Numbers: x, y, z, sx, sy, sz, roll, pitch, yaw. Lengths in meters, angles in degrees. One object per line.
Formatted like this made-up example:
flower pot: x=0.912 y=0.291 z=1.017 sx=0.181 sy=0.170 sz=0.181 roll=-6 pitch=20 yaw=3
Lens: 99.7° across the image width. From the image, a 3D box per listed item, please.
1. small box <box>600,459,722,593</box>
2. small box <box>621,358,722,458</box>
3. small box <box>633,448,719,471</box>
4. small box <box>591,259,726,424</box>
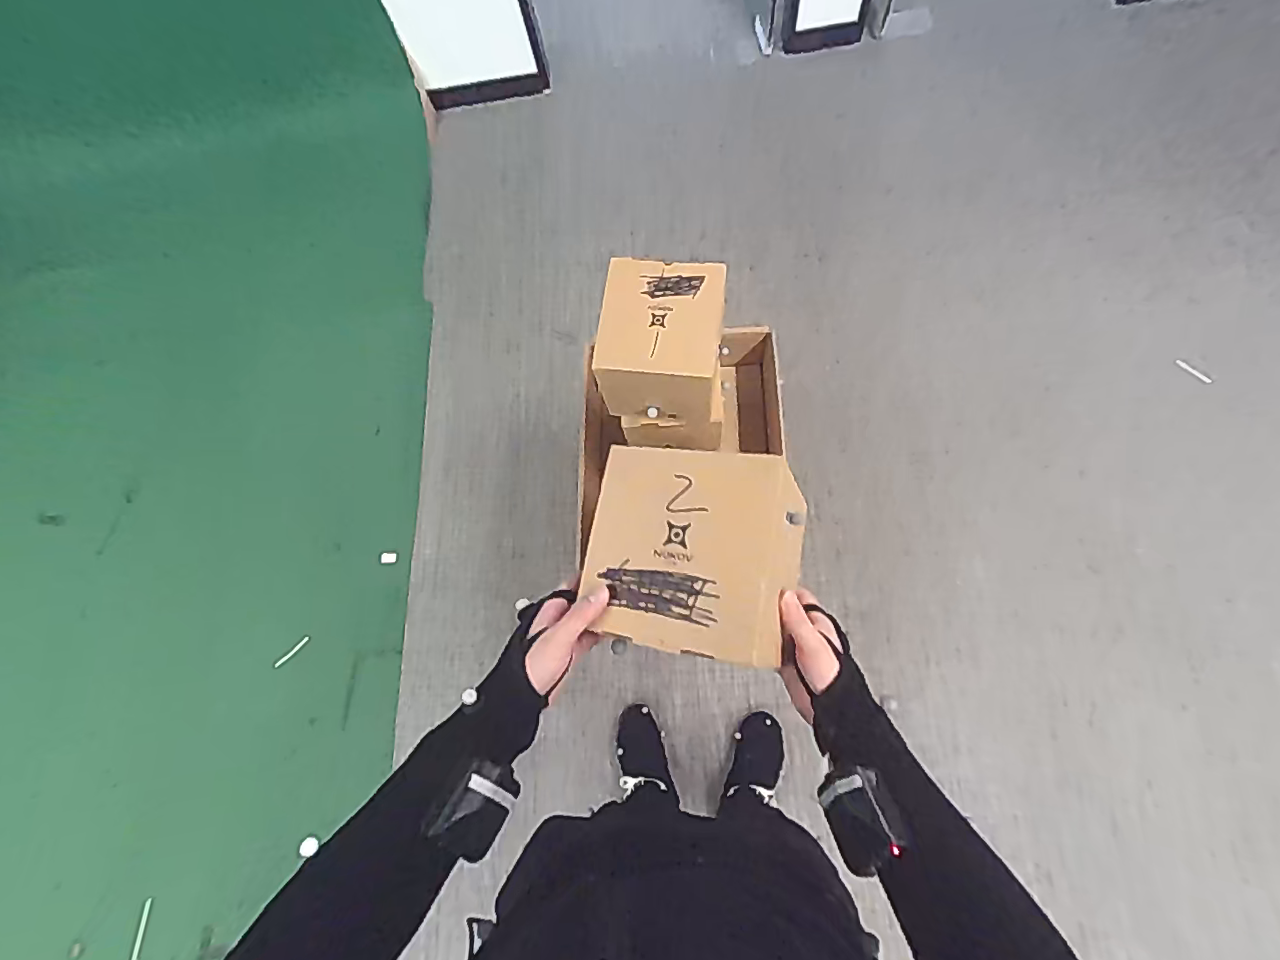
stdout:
small box: x=0.042 y=0.083 z=0.889 sx=0.168 sy=0.176 sz=0.179 roll=7 pitch=72 yaw=8
small box: x=0.057 y=-0.150 z=0.969 sx=0.168 sy=0.176 sz=0.179 roll=-3 pitch=74 yaw=5
small box: x=0.075 y=-0.105 z=1.123 sx=0.168 sy=0.176 sz=0.179 roll=-3 pitch=73 yaw=7
small box: x=0.034 y=-0.202 z=0.814 sx=0.168 sy=0.176 sz=0.179 roll=6 pitch=75 yaw=9
